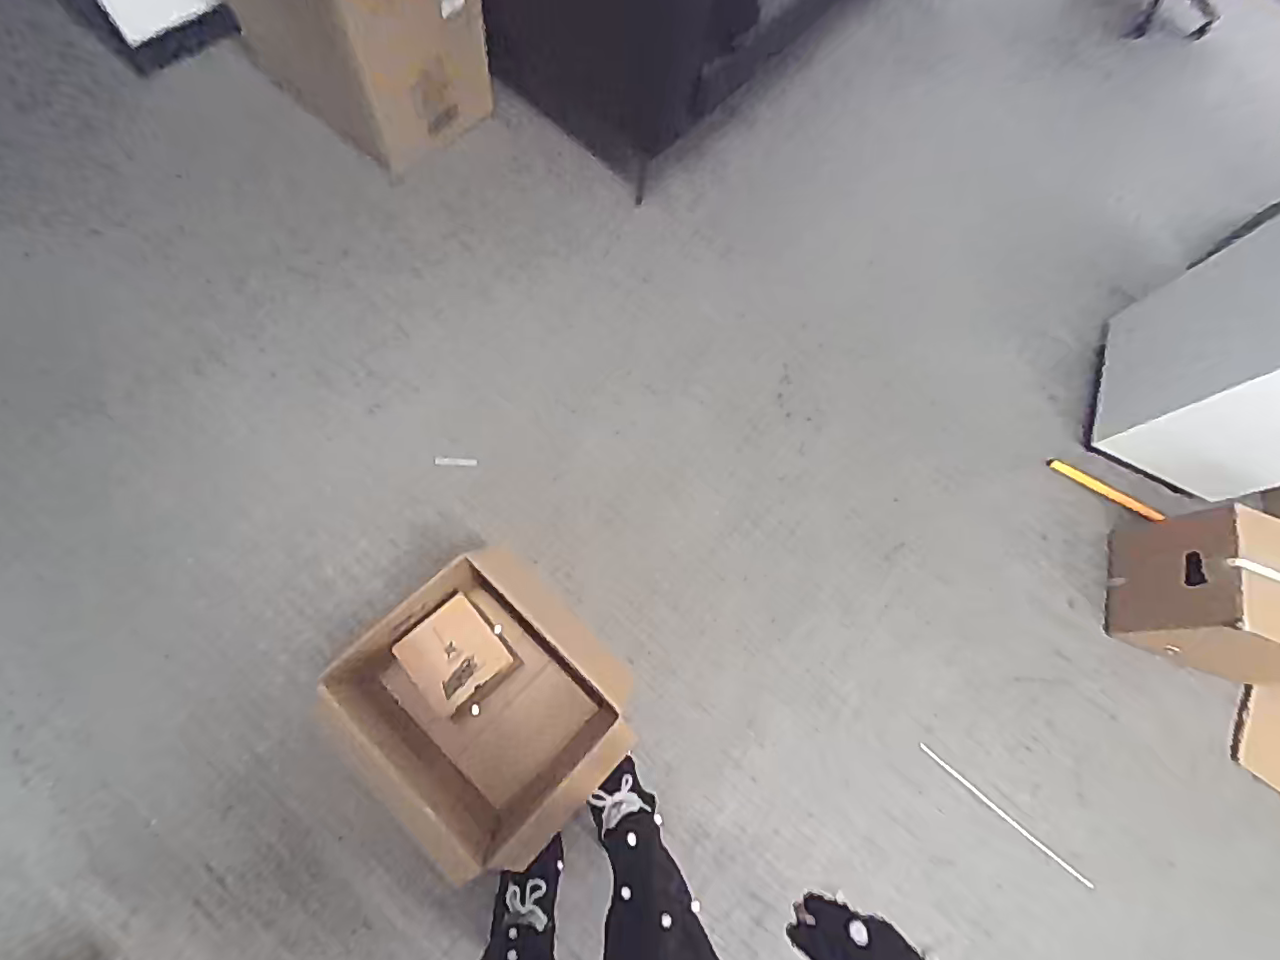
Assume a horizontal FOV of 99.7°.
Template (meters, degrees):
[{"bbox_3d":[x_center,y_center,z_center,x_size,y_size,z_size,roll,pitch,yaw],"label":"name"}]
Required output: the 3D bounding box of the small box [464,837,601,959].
[{"bbox_3d":[-0.206,0.826,1.030,0.168,0.176,0.179,-42,60,-10],"label":"small box"}]
